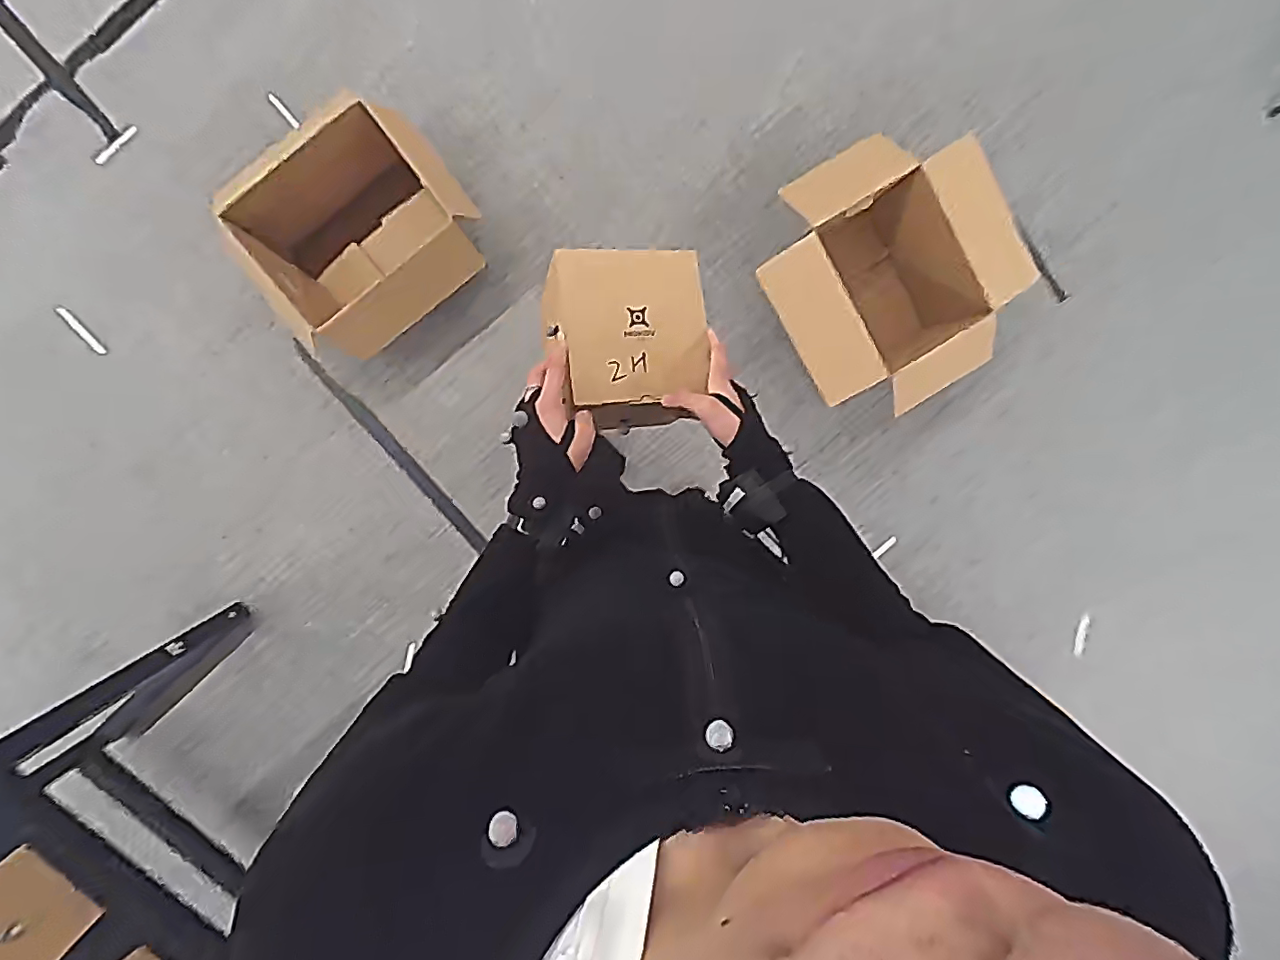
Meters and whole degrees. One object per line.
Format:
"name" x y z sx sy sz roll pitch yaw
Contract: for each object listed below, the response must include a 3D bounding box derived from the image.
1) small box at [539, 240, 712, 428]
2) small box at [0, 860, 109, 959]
"small box" -0.029 -0.169 0.664 0.168 0.176 0.179 -6 87 -16
"small box" -1.009 0.738 0.833 0.168 0.176 0.179 -38 100 3
